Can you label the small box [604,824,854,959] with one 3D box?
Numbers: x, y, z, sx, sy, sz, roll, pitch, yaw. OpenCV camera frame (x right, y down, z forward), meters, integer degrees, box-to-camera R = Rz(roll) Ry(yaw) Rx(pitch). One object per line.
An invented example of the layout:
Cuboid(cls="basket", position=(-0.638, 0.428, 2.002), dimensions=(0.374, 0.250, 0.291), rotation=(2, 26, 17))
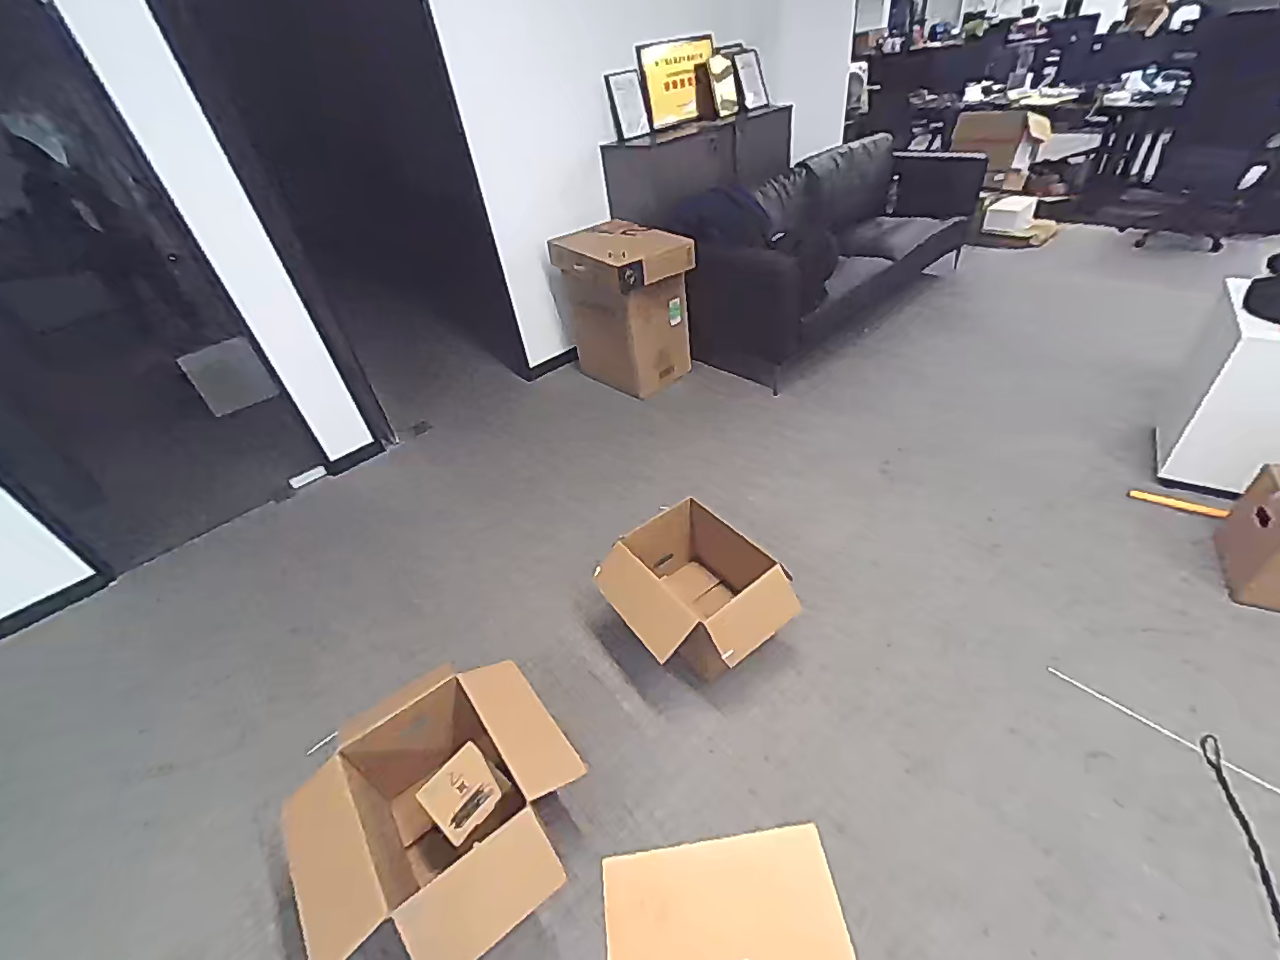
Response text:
Cuboid(cls="small box", position=(0.068, 0.389, 0.404), dimensions=(0.168, 0.176, 0.179), rotation=(-9, 45, -1))
